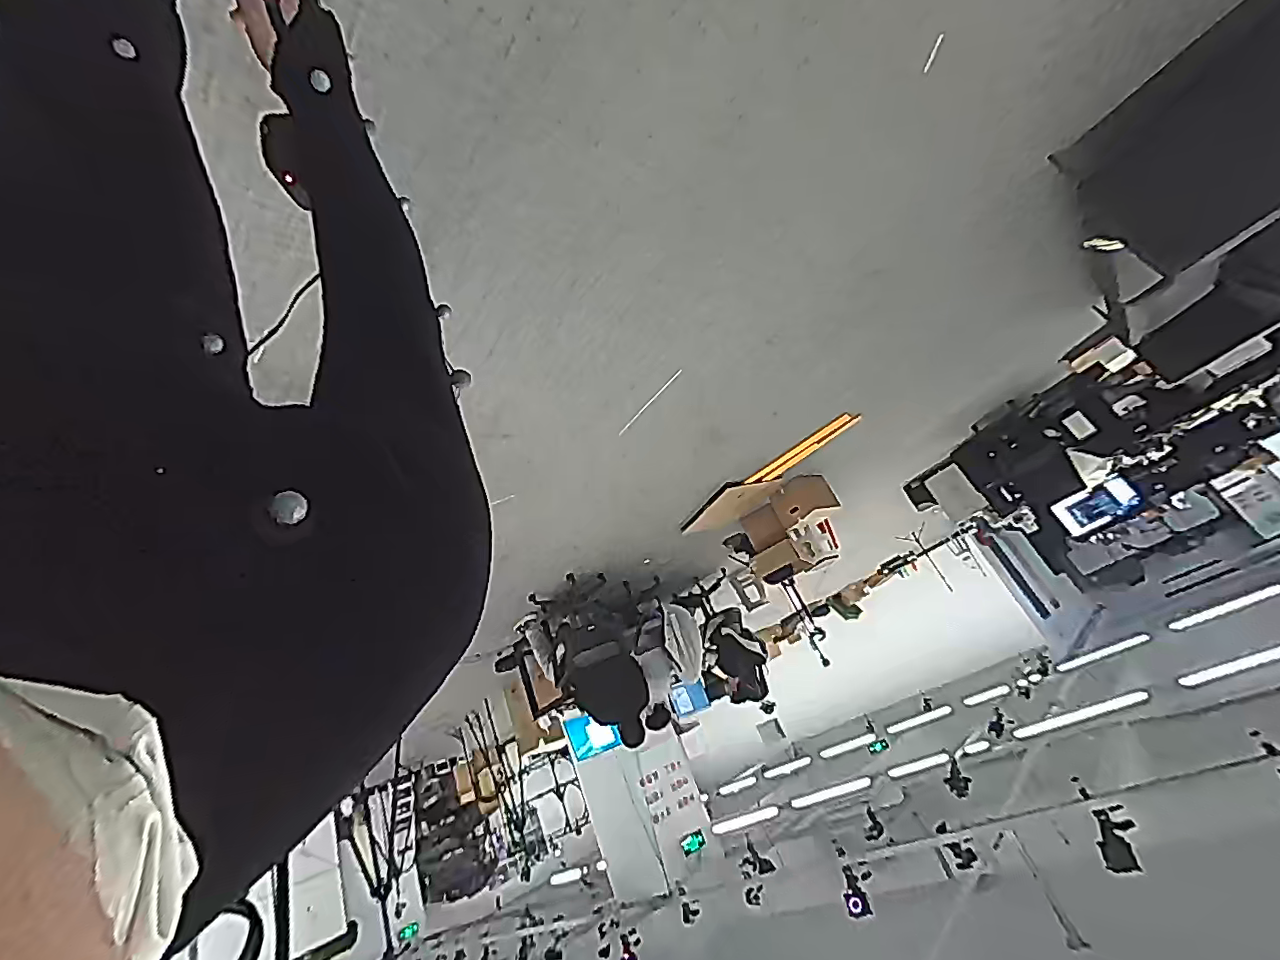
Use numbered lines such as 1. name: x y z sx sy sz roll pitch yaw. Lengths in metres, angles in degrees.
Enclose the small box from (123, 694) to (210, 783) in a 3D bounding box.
1. small box: -1.378 0.747 1.575 0.179 0.176 0.168 3 144 -45
